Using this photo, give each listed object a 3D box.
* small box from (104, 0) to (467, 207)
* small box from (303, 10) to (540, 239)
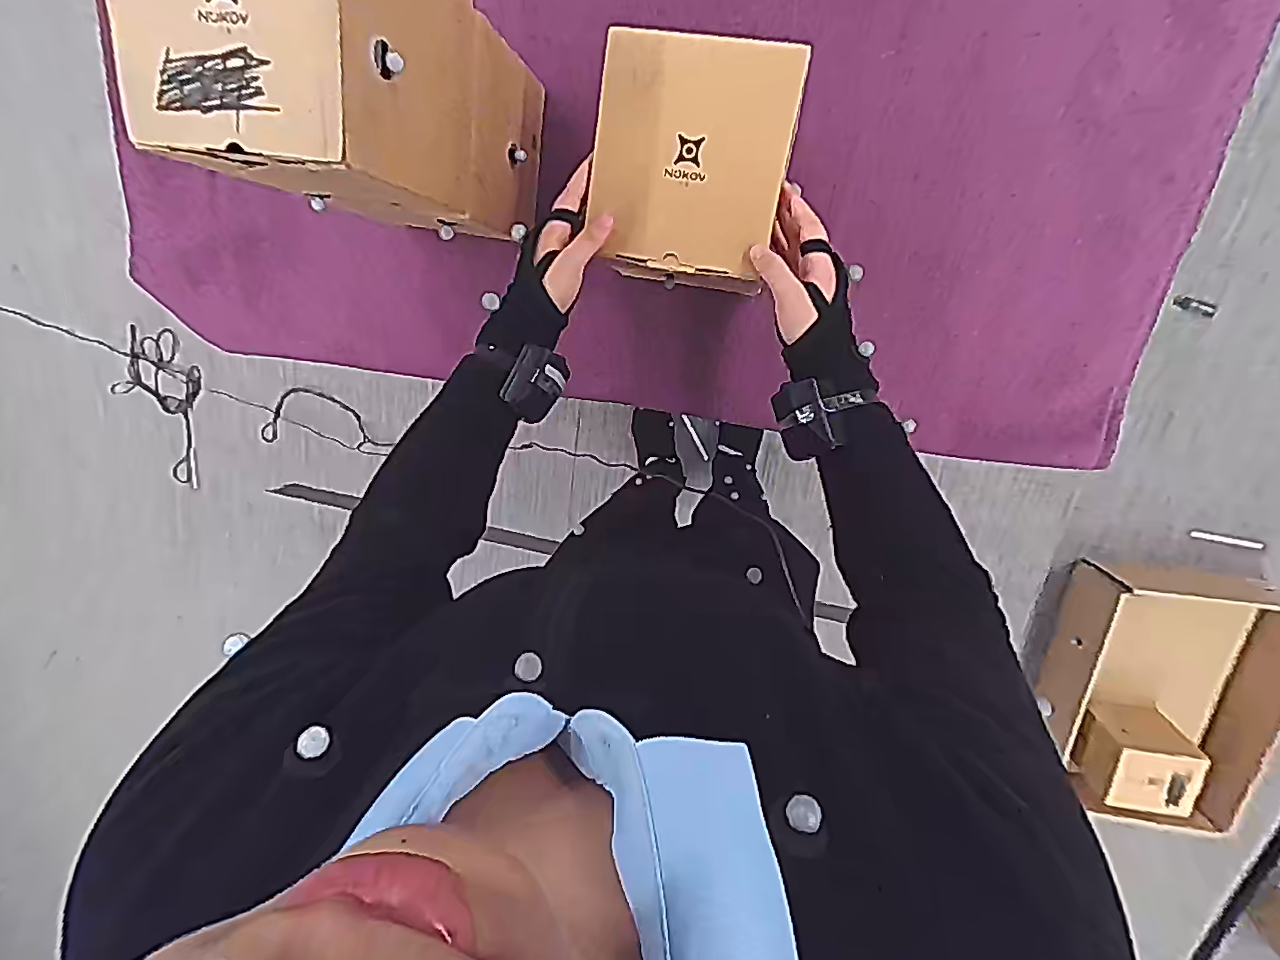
[{"bbox_3d":[-0.244,-0.318,0.406,0.168,0.176,0.179,10,107,7],"label":"small box"},{"bbox_3d":[-0.216,-0.358,0.563,0.179,0.176,0.168,11,108,7],"label":"small box"}]
